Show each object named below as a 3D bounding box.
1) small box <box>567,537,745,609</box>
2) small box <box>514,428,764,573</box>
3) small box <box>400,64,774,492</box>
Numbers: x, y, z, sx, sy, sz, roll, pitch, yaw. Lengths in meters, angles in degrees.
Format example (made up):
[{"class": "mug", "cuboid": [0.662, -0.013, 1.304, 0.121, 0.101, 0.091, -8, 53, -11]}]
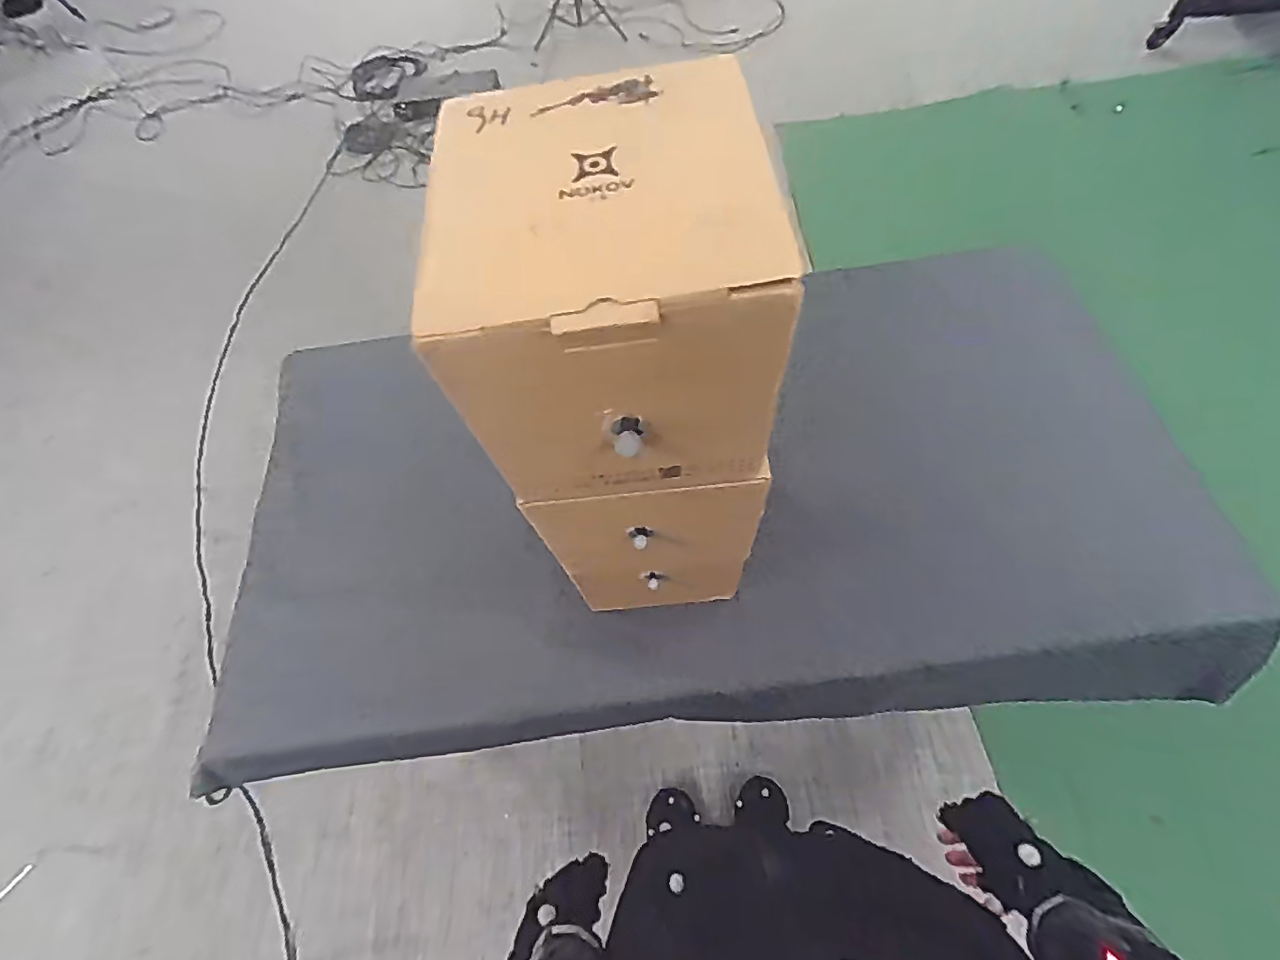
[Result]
[{"class": "small box", "cuboid": [0.016, 0.044, 0.623, 0.179, 0.176, 0.168, -7, 64, 2]}, {"class": "small box", "cuboid": [0.001, -0.025, 0.475, 0.179, 0.176, 0.168, -7, 63, 4]}, {"class": "small box", "cuboid": [-0.021, -0.103, 0.333, 0.168, 0.176, 0.179, -8, 64, 3]}]
